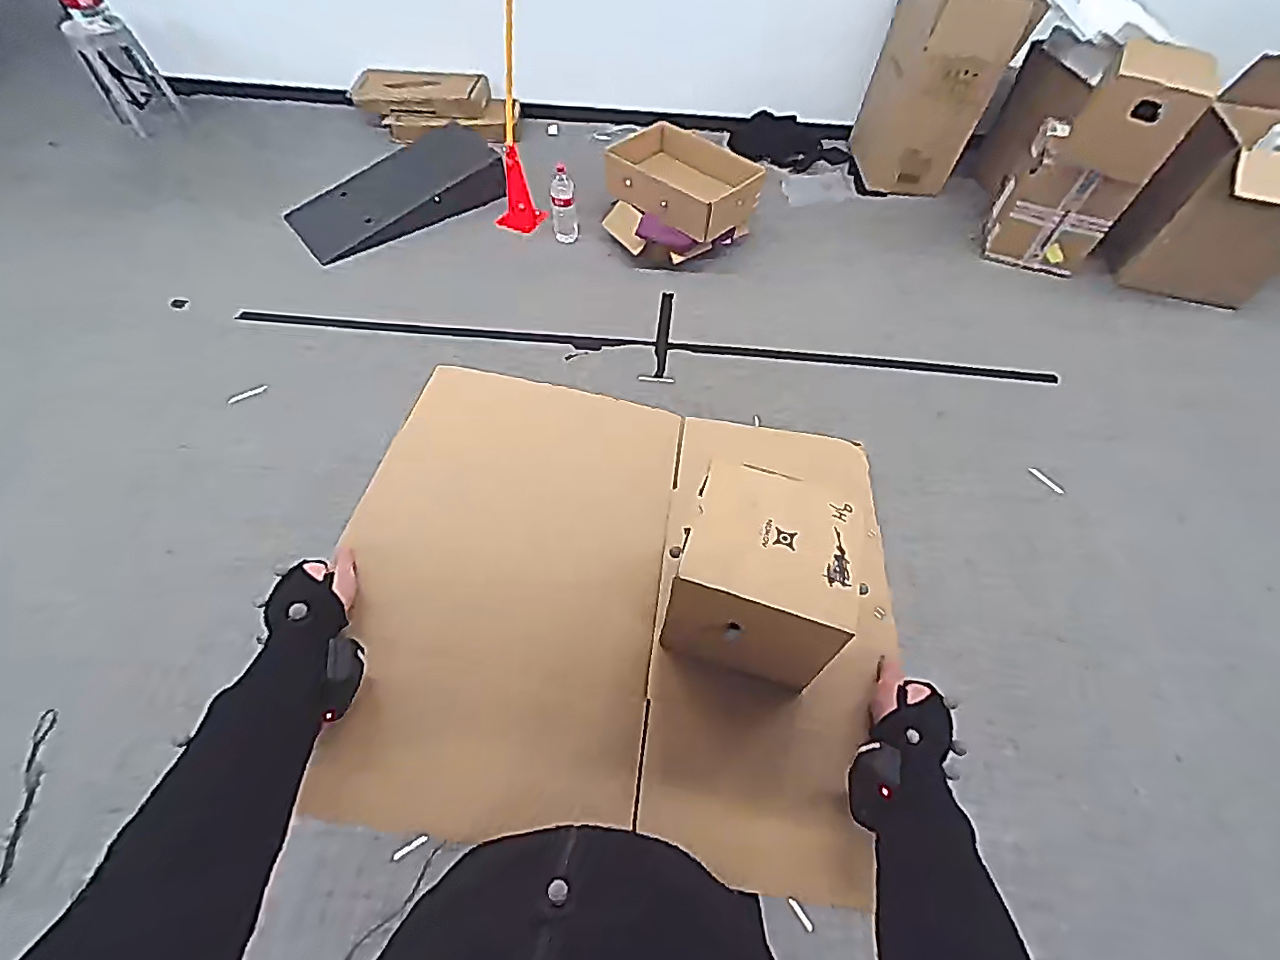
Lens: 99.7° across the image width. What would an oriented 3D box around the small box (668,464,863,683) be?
[{"bbox_3d":[0.137,0.112,0.625,0.179,0.176,0.168,15,53,9],"label":"small box"}]
